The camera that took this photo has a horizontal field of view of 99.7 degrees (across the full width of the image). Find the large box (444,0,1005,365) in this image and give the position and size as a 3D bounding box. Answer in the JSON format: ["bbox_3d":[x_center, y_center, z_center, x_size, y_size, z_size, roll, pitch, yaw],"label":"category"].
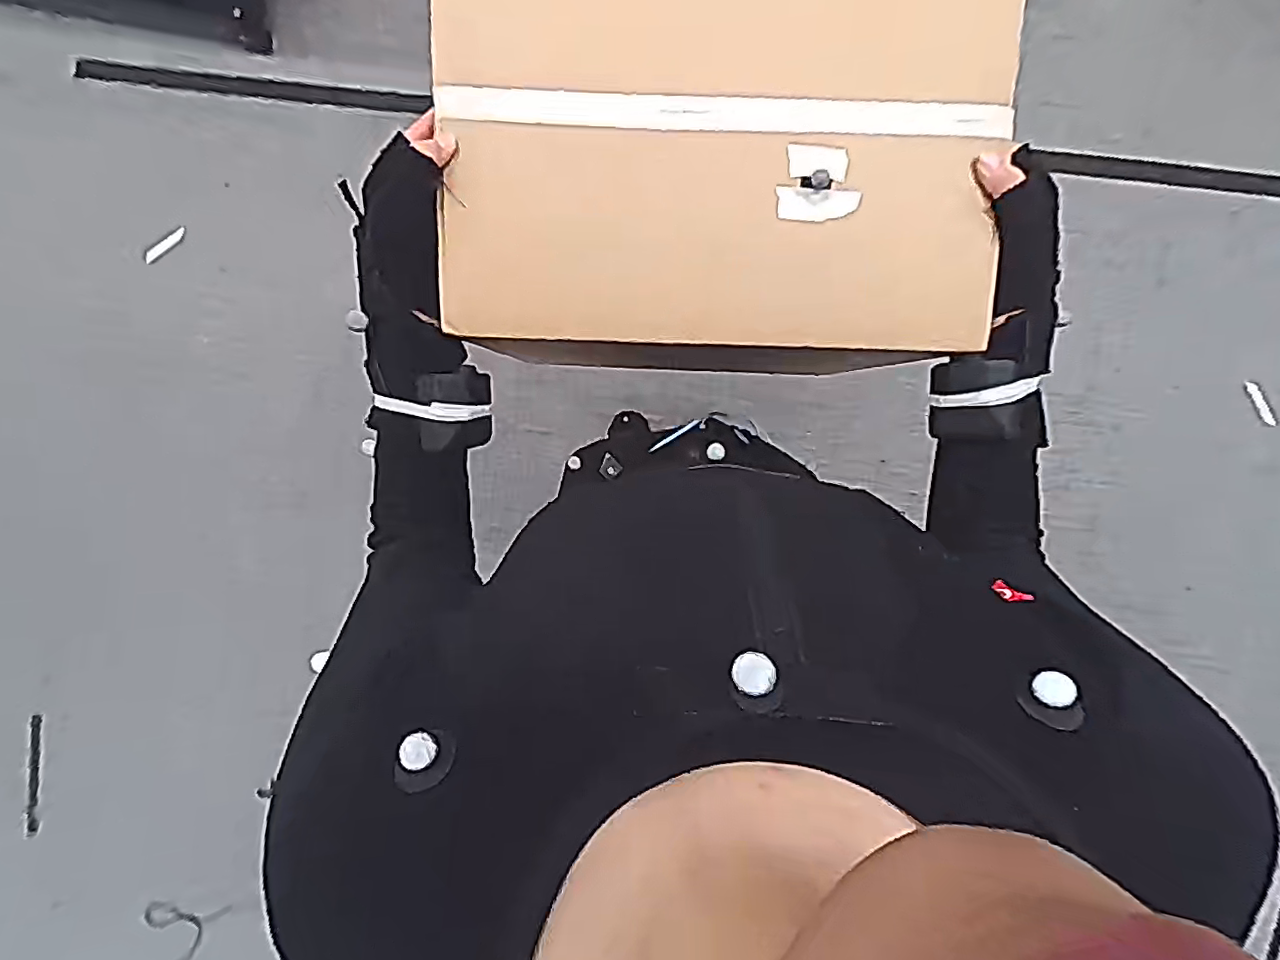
[{"bbox_3d":[0.053,-0.284,0.539,0.408,0.320,0.320,2,99,-2],"label":"large box"}]
